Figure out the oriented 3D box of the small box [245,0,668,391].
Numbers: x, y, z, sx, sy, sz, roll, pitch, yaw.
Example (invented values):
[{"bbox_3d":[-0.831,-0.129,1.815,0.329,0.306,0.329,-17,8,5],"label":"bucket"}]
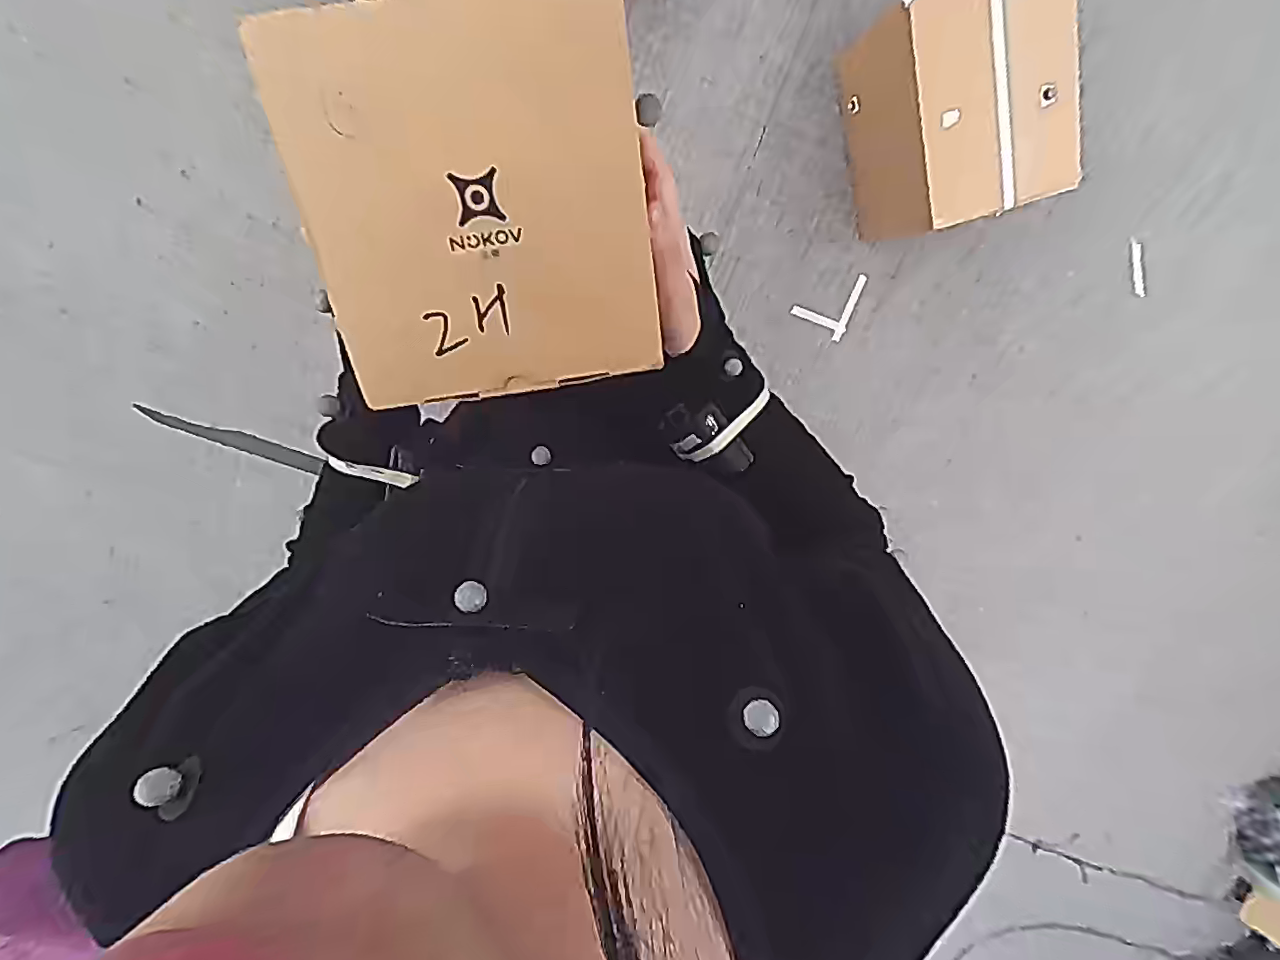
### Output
[{"bbox_3d":[-0.083,-0.169,0.333,0.168,0.176,0.179,-9,114,-2],"label":"small box"}]
